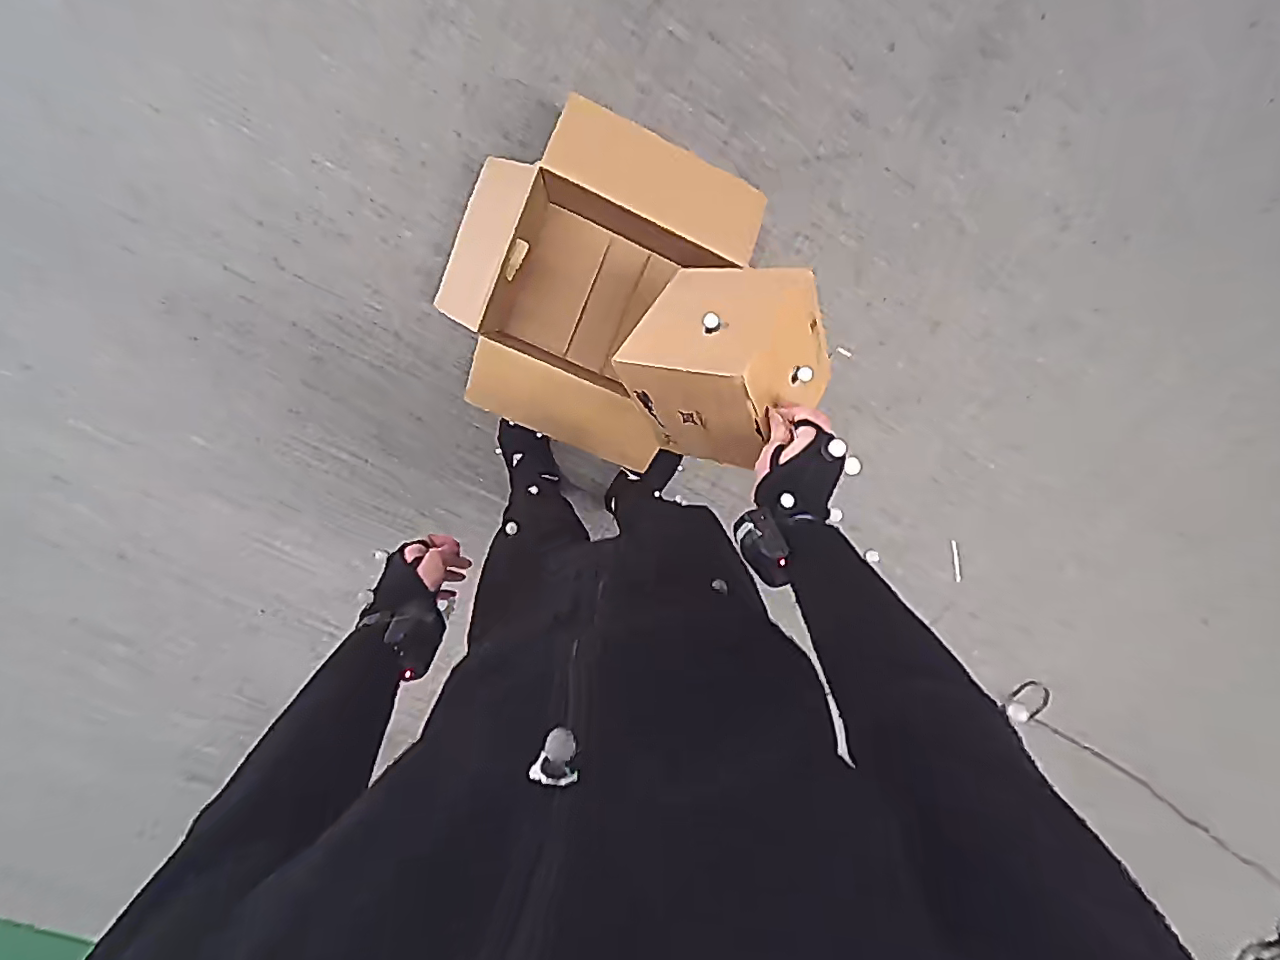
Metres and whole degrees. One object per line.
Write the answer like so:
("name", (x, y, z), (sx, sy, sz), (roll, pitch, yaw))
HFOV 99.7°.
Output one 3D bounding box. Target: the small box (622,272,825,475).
("small box", (0.114, -0.136, 0.666), (0.176, 0.179, 0.168), (-54, 140, -22))
